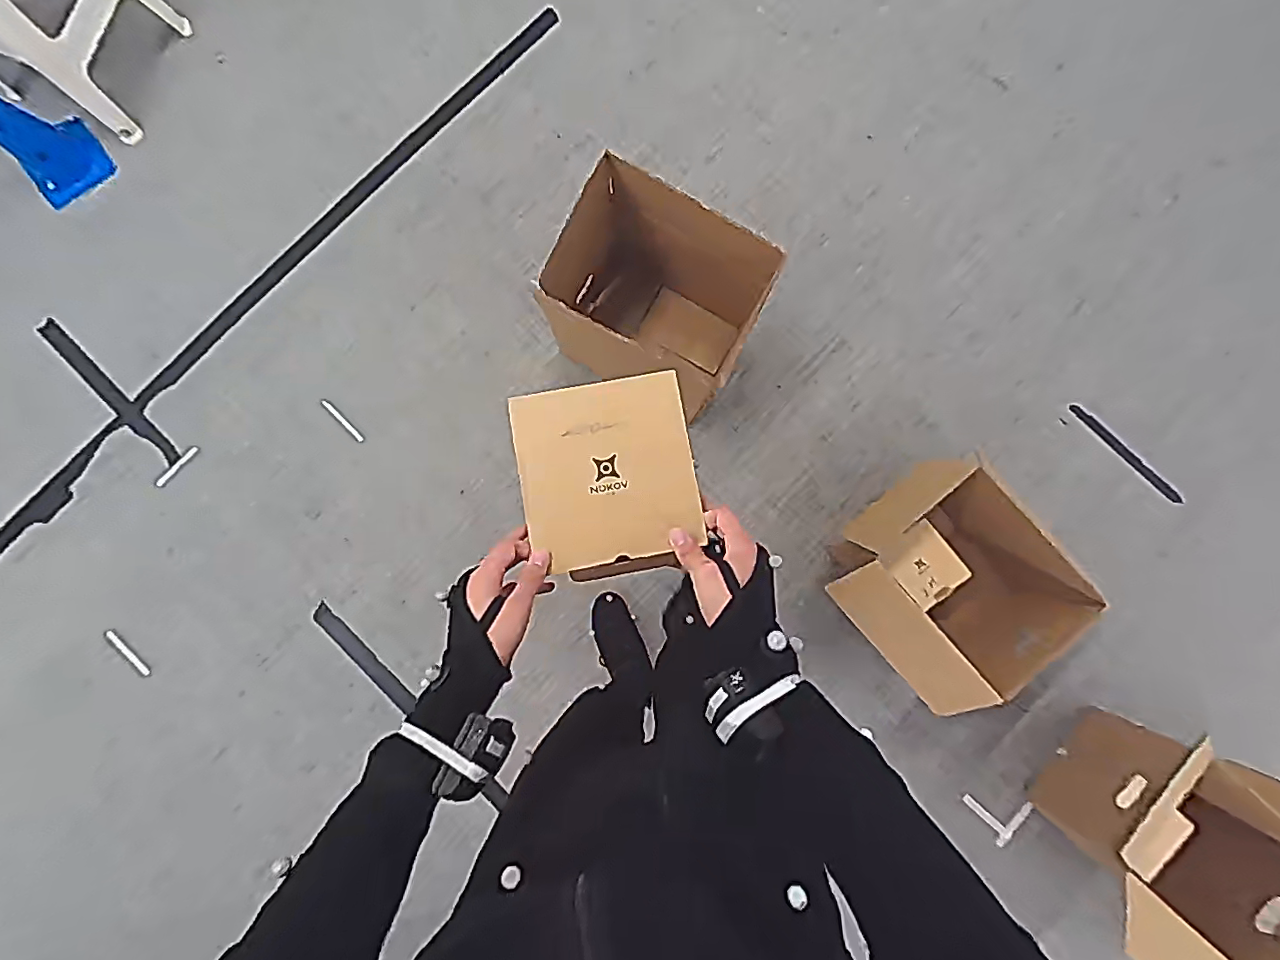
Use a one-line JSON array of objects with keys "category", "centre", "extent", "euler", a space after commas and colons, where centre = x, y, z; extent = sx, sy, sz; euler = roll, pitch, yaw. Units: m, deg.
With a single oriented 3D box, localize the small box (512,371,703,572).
[{"category": "small box", "centre": [-0.032, -0.008, 0.598], "extent": [0.168, 0.176, 0.179], "euler": [-9, 89, -2]}]
